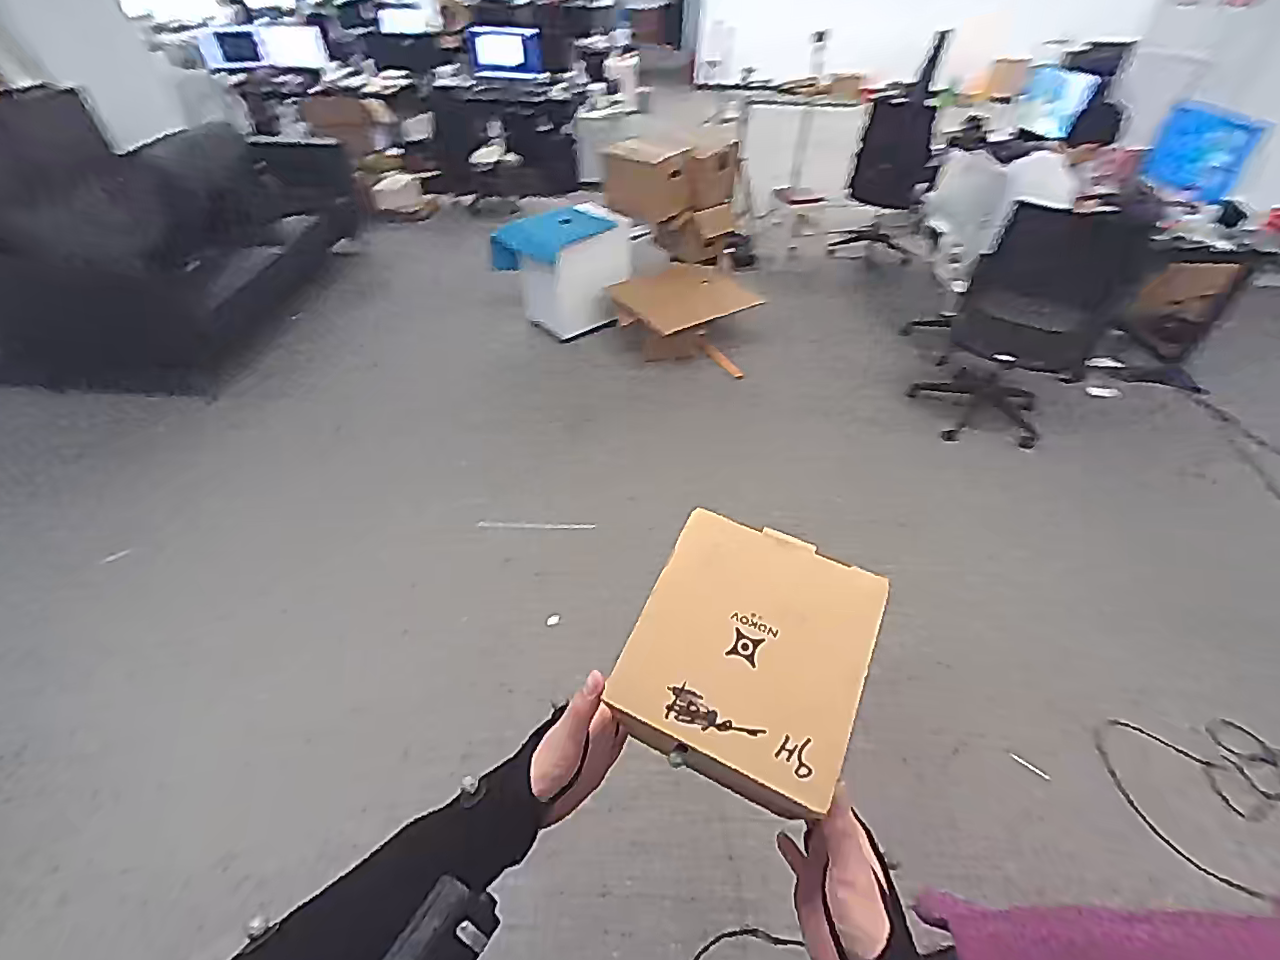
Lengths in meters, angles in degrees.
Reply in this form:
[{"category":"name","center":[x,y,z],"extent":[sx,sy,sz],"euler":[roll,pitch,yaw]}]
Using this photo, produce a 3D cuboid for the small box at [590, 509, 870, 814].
[{"category":"small box","center":[0.076,0.160,0.471],"extent":[0.168,0.176,0.179],"euler":[20,61,18]}]
